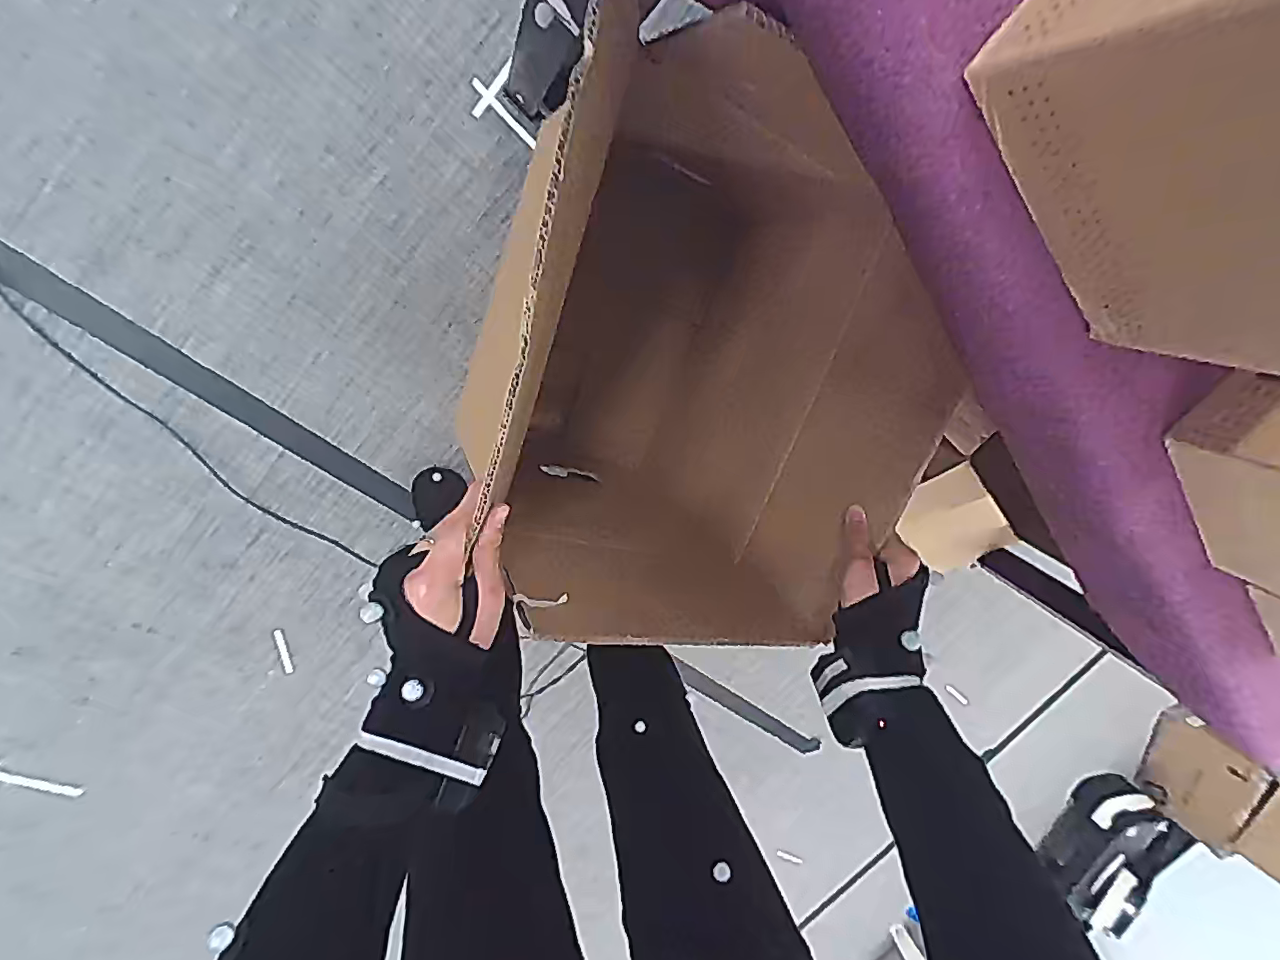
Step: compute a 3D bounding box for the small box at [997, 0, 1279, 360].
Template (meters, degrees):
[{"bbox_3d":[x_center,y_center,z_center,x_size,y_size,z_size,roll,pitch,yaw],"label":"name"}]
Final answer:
[{"bbox_3d":[0.273,-0.149,0.185,0.179,0.176,0.168,38,99,-28],"label":"small box"}]
